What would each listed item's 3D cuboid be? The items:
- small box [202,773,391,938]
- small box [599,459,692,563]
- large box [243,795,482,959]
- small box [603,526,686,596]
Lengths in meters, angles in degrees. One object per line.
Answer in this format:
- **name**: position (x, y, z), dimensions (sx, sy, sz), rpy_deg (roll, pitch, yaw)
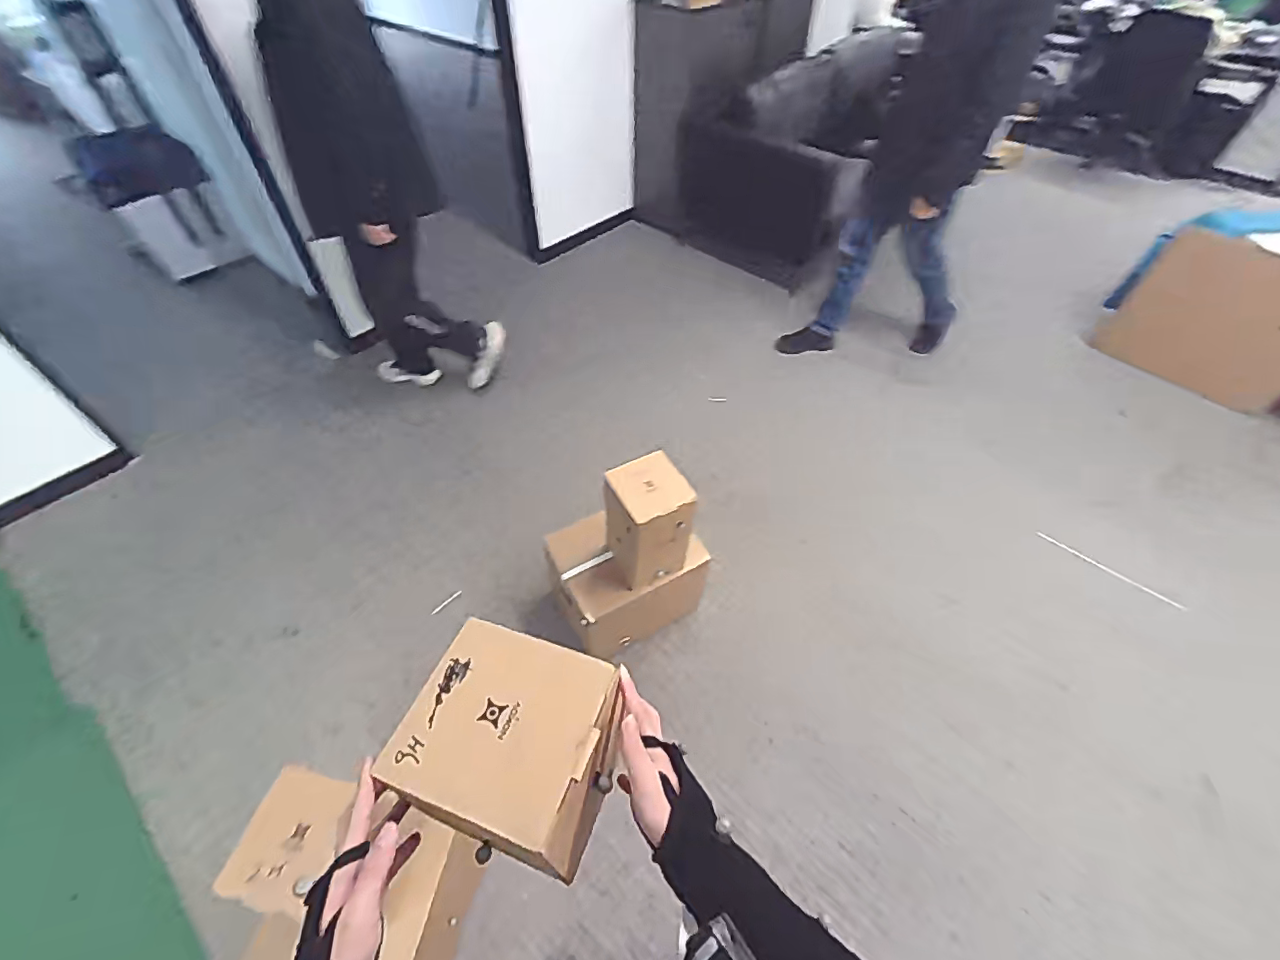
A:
- **small box**: position (-0.531, 0.607, 0.873), dimensions (0.168, 0.176, 0.179), rpy_deg (11, 50, 8)
- **small box**: position (0.010, 0.084, 1.346), dimensions (0.168, 0.176, 0.179), rpy_deg (-22, 54, -20)
- **large box**: position (-0.565, 0.925, 1.140), dimensions (0.320, 0.320, 0.408), rpy_deg (6, 50, 5)
- **small box**: position (0.004, 0.183, 1.475), dimensions (0.168, 0.176, 0.179), rpy_deg (-21, 55, -19)
